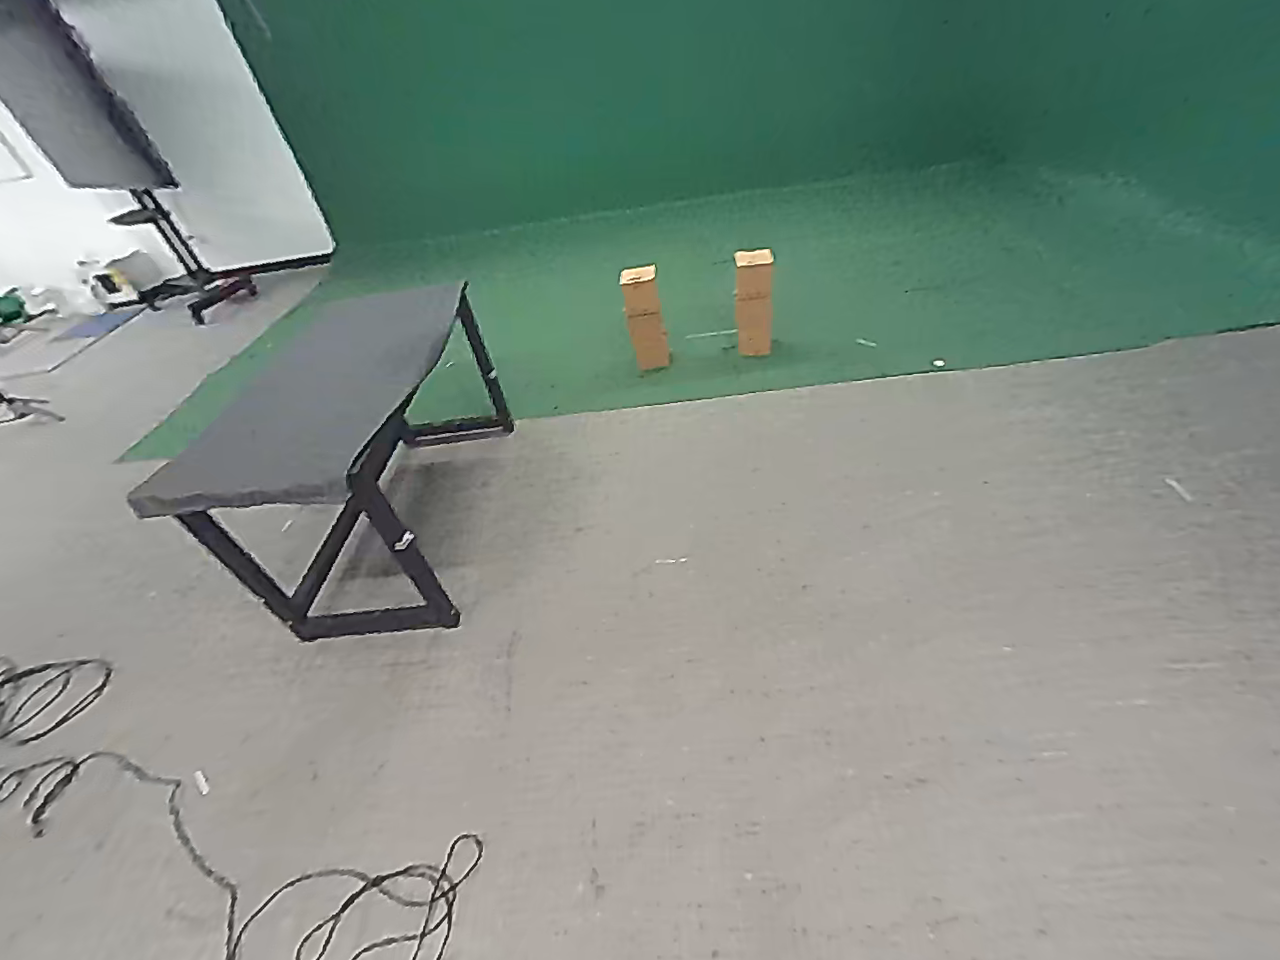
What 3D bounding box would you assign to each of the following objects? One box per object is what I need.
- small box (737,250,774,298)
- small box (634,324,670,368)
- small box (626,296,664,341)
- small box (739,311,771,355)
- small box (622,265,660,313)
[{"bbox_3d":[0.565,-1.016,2.670,0.168,0.176,0.179,-2,42,7],"label":"small box"},{"bbox_3d":[0.066,-0.723,2.937,0.179,0.176,0.168,-6,43,5],"label":"small box"},{"bbox_3d":[0.031,-0.840,2.830,0.179,0.176,0.168,-4,43,6],"label":"small box"},{"bbox_3d":[0.615,-0.782,2.896,0.168,0.176,0.179,0,43,11],"label":"small box"},{"bbox_3d":[0.009,-0.952,2.711,0.168,0.176,0.179,-6,42,7],"label":"small box"}]
